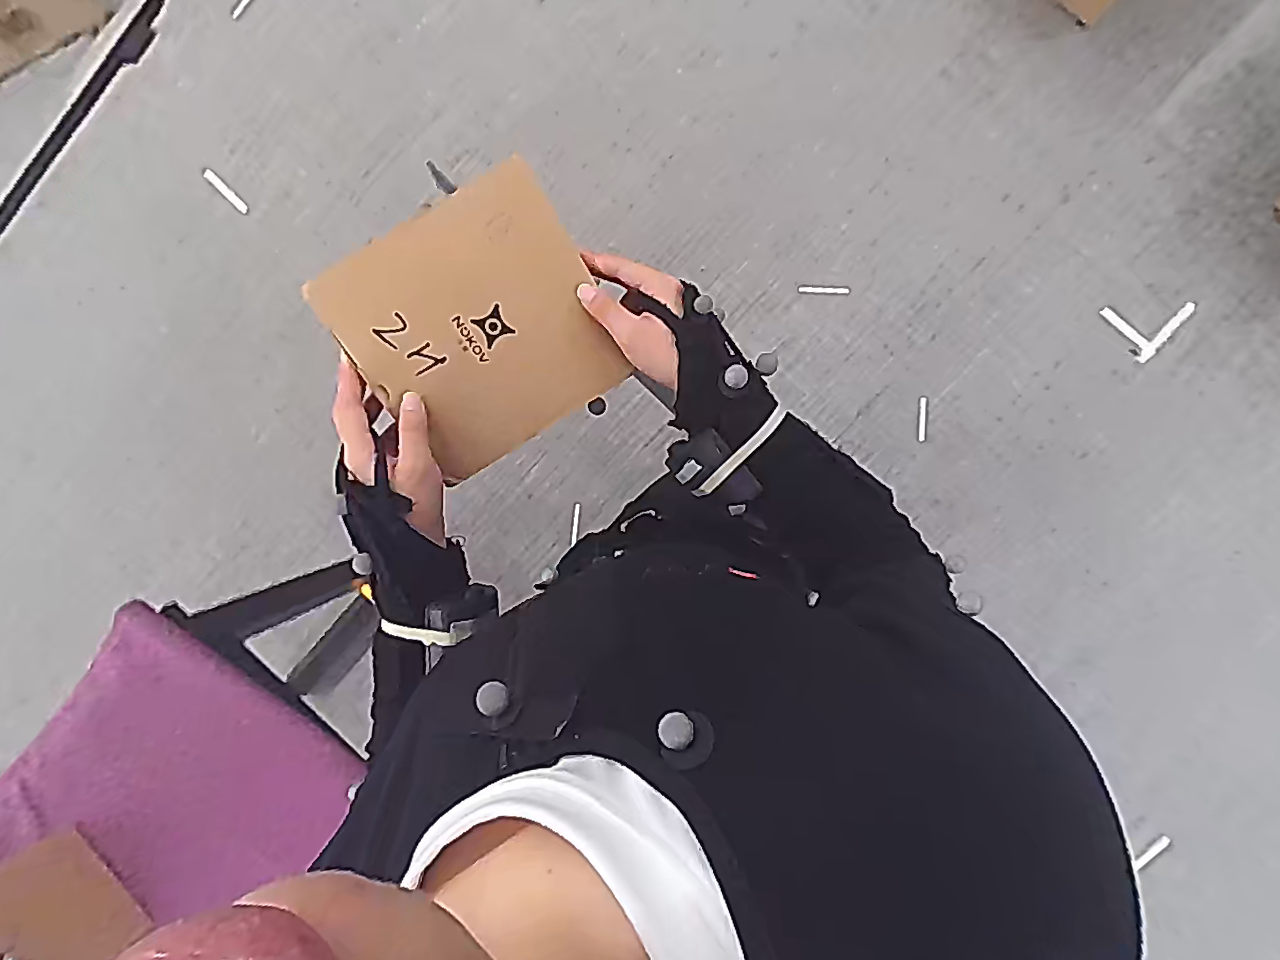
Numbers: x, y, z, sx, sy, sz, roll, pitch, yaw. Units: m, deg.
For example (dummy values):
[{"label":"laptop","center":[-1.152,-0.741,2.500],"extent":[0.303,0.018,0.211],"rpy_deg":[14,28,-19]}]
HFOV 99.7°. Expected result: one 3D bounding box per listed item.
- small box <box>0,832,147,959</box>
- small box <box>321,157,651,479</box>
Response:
[{"label":"small box","center":[-0.767,0.580,0.647],"extent":[0.168,0.176,0.179],"rpy_deg":[-41,89,3]},{"label":"small box","center":[-0.115,-0.129,0.460],"extent":[0.179,0.176,0.168],"rpy_deg":[-31,107,0]}]
